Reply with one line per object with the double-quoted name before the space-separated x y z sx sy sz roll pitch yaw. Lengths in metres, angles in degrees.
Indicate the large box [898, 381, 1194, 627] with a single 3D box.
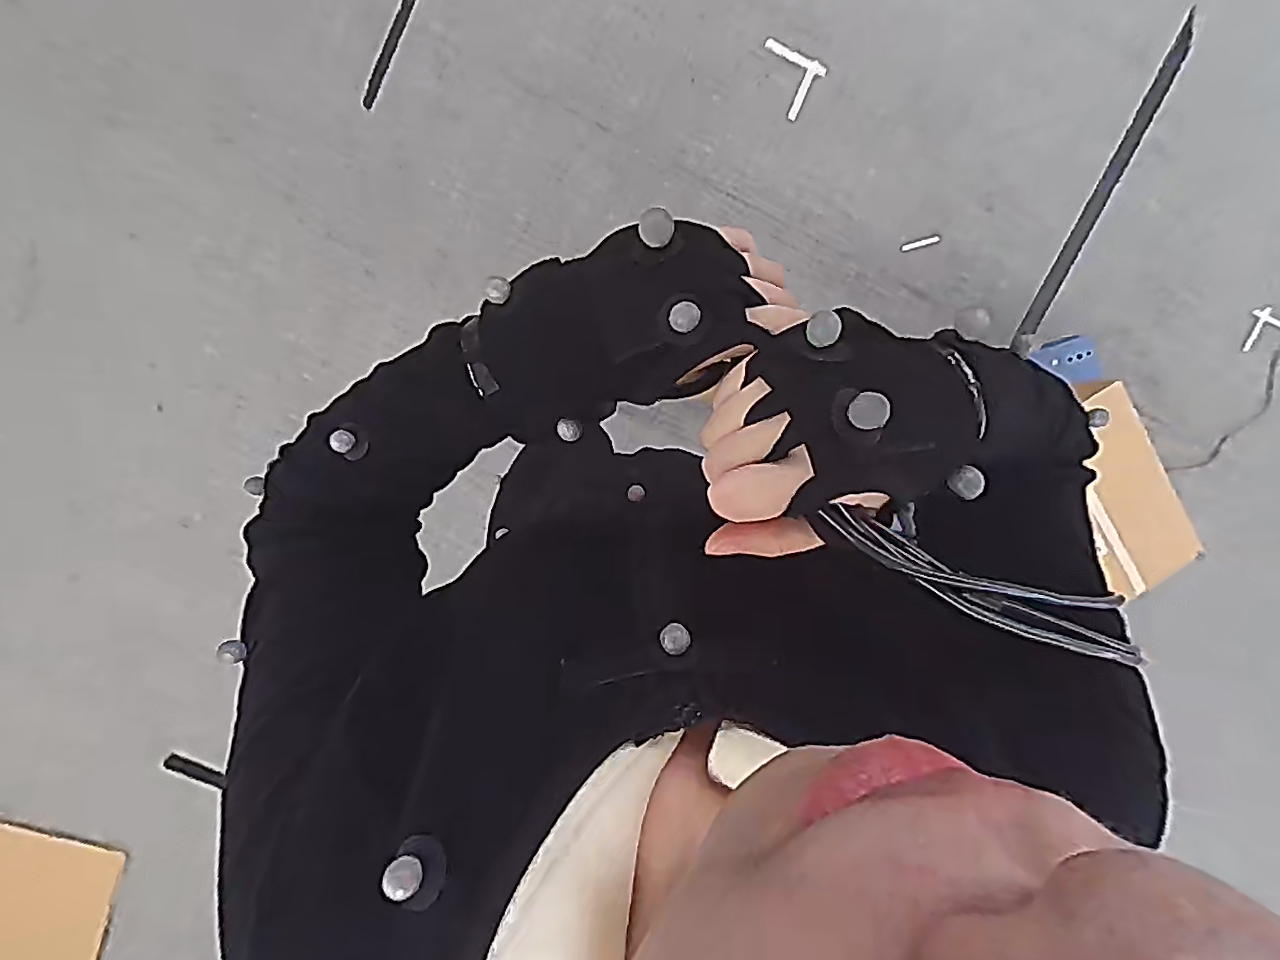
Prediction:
"large box" 0.868 0.037 1.205 0.320 0.320 0.408 -32 97 1
